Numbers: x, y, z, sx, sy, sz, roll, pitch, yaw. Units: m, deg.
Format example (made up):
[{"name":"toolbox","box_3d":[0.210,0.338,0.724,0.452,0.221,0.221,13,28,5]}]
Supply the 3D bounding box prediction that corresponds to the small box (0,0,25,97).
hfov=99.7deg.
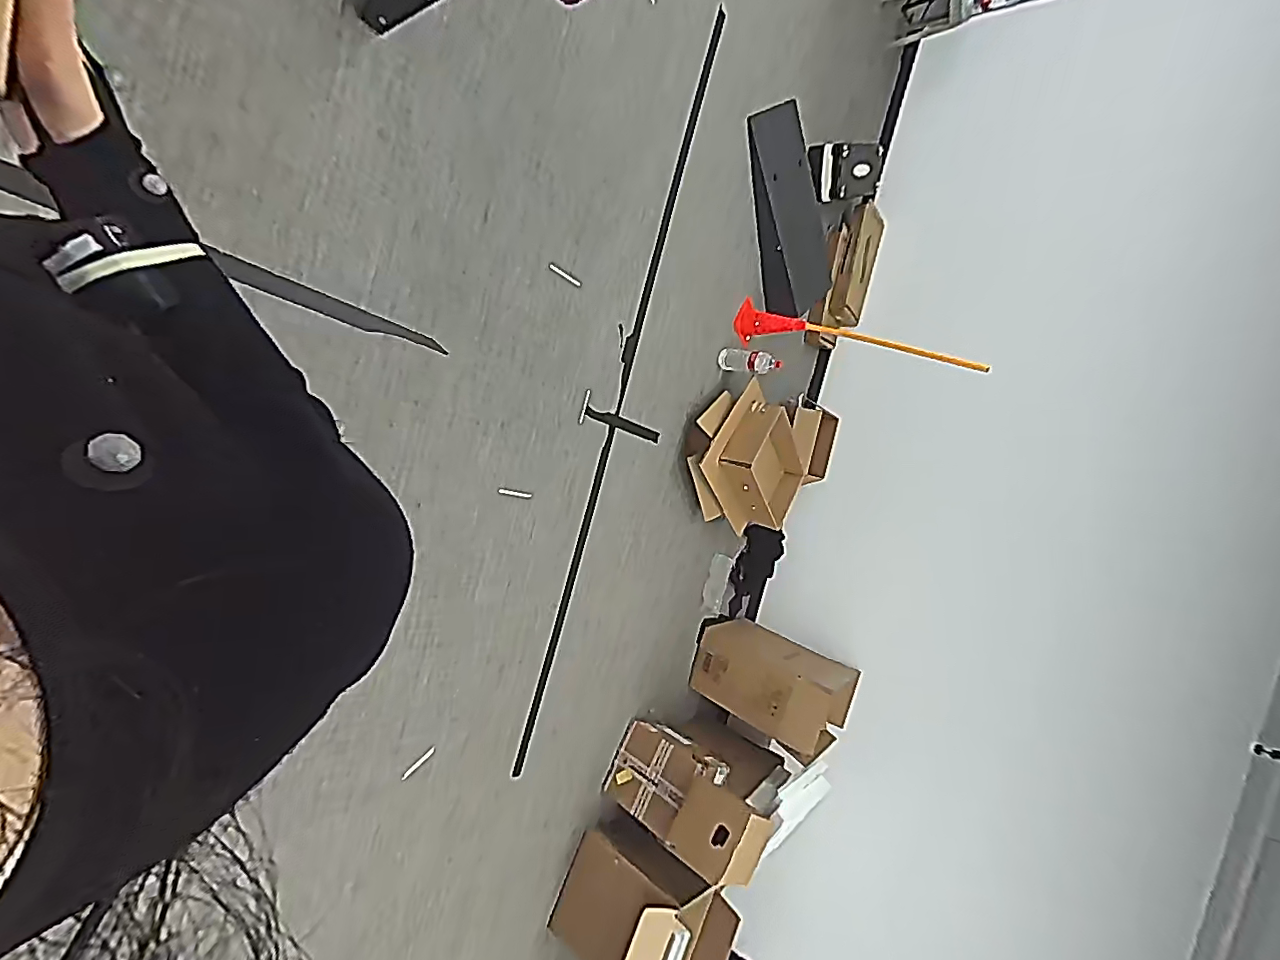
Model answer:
[{"name":"small box","box_3d":[-0.416,-0.319,0.259,0.168,0.176,0.179,6,106,-54]}]
